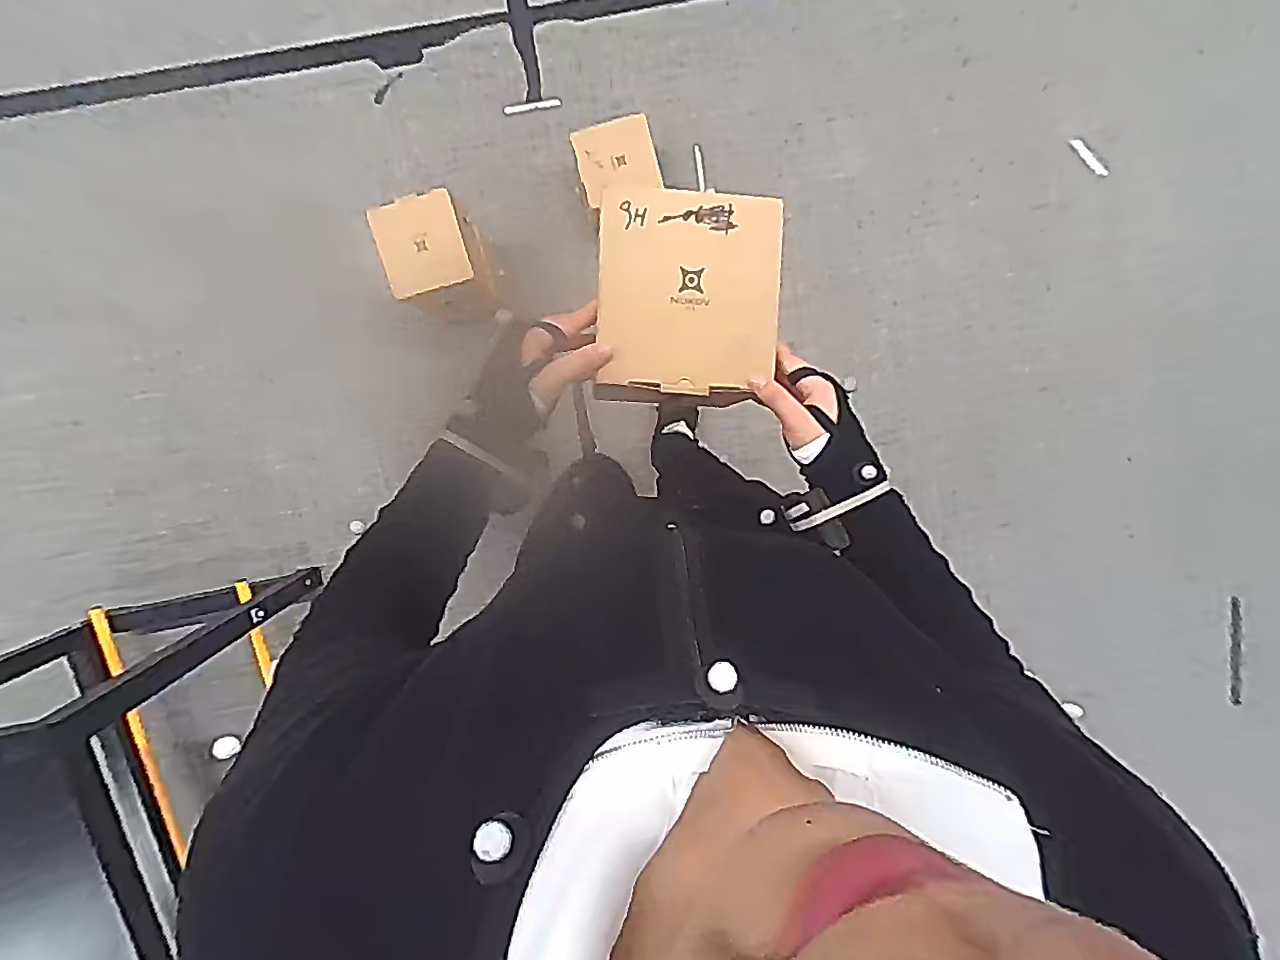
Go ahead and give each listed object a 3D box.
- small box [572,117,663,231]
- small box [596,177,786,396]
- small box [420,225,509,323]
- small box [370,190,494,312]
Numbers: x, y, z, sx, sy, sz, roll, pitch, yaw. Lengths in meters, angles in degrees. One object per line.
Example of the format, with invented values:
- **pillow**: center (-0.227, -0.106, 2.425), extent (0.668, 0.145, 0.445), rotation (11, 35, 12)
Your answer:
- **small box**: center (-0.052, -0.713, 1.276), extent (0.179, 0.176, 0.168), rotation (-16, 99, 0)
- **small box**: center (0.041, -0.181, 0.562), extent (0.168, 0.176, 0.179), rotation (2, 94, -5)
- **small box**: center (-0.429, -0.483, 1.291), extent (0.179, 0.176, 0.168), rotation (-13, 100, -1)
- **small box**: center (-0.423, -0.468, 1.129), extent (0.168, 0.176, 0.179), rotation (-16, 101, 1)
